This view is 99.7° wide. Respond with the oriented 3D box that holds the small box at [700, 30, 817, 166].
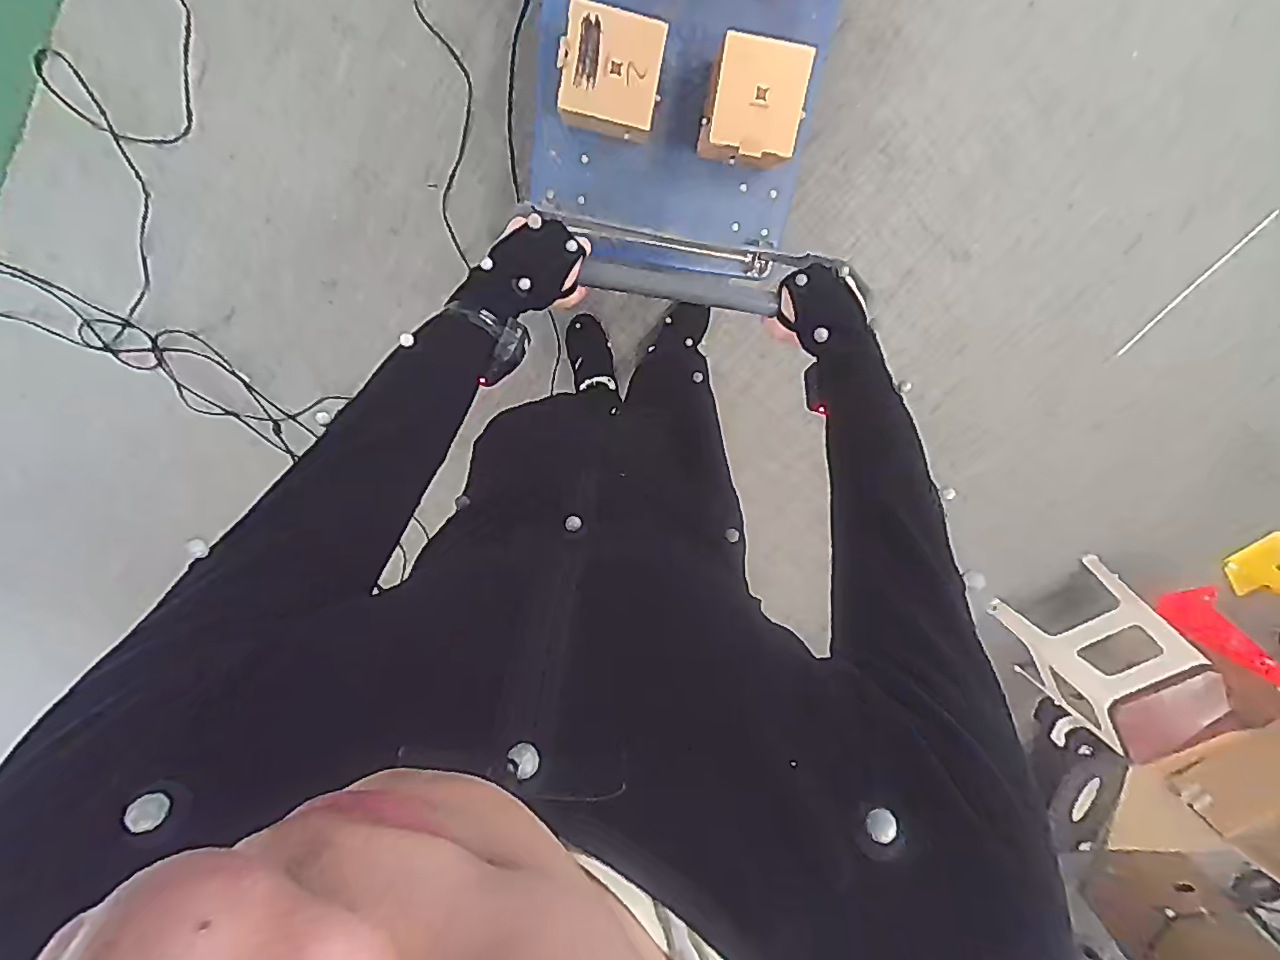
[{"bbox_3d":[0.220,-0.735,1.061,0.168,0.176,0.179,6,115,-6],"label":"small box"}]
